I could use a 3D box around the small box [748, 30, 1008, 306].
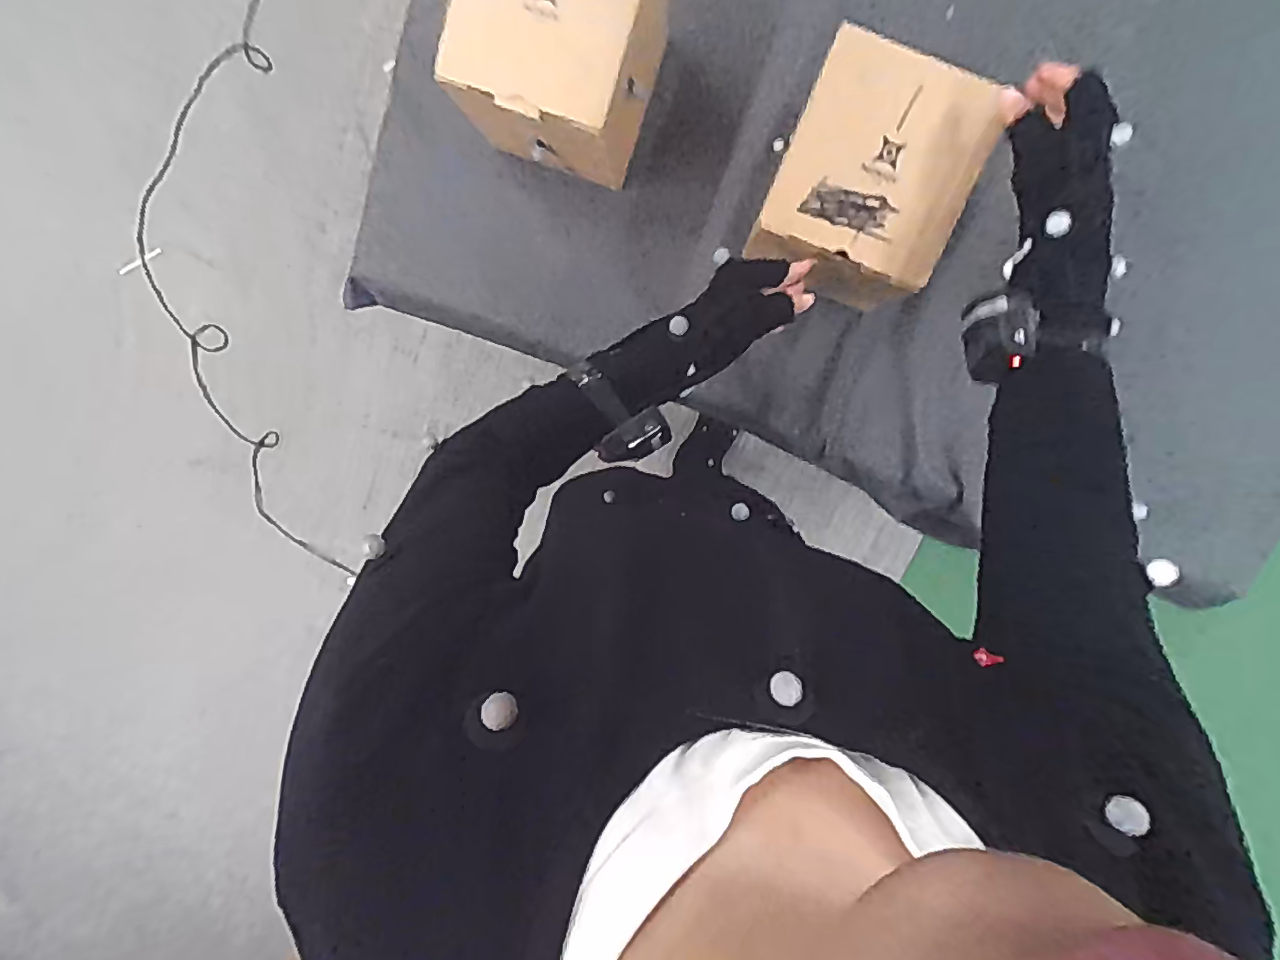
[{"bbox_3d":[0.222,-0.299,0.565,0.168,0.176,0.179,23,101,1],"label":"small box"}]

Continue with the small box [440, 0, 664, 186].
[{"bbox_3d":[-0.078,-0.440,0.566,0.168,0.176,0.179,20,103,1],"label":"small box"}]
